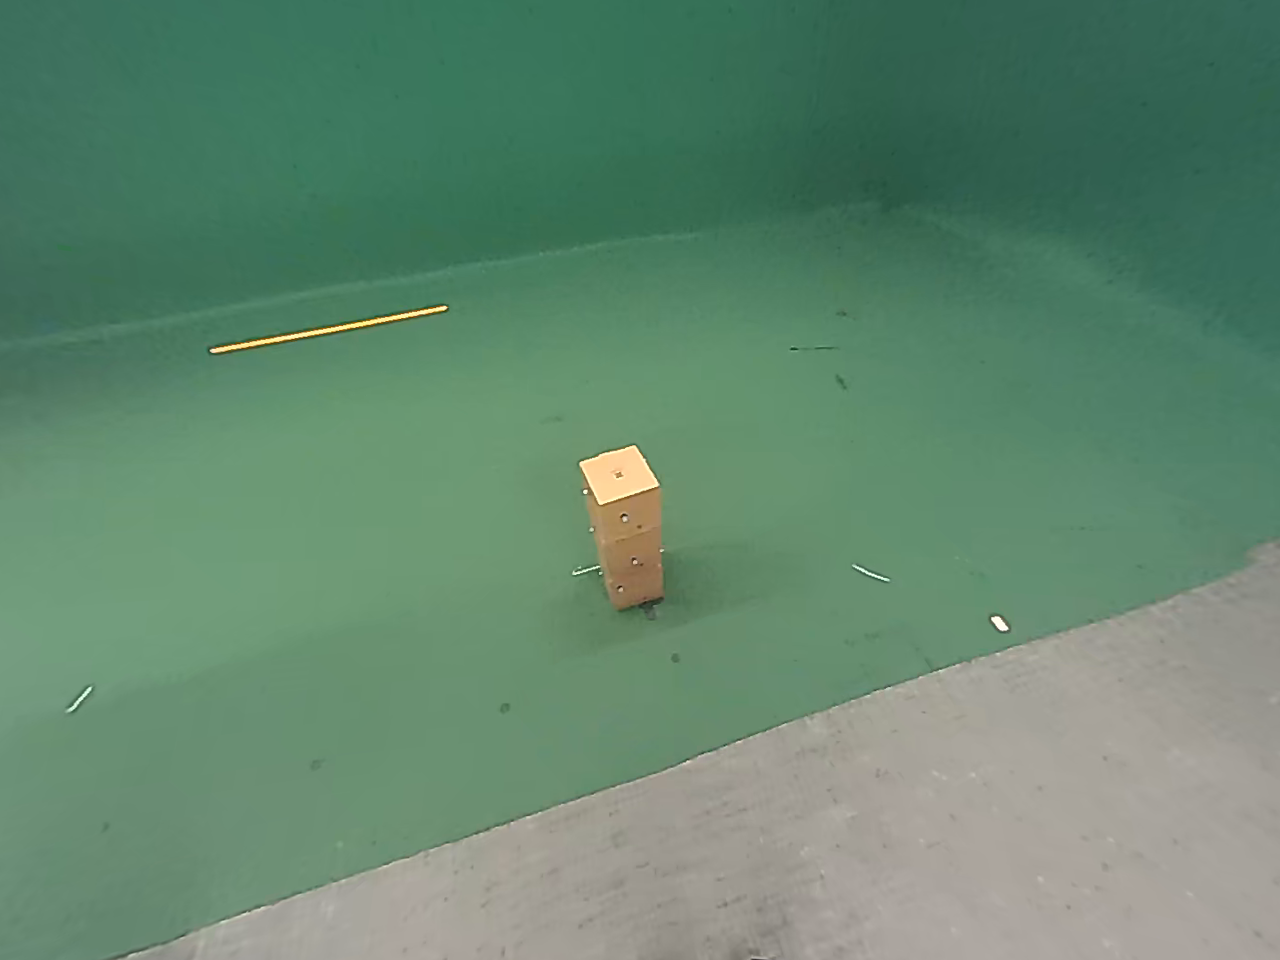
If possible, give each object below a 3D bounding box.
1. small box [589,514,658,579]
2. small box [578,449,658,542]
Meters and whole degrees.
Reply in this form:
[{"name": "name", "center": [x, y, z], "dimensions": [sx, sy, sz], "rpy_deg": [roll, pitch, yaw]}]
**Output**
[{"name": "small box", "center": [-0.051, 0.161, 1.598], "dimensions": [0.168, 0.176, 0.179], "rpy_deg": [-16, 47, -11]}, {"name": "small box", "center": [-0.057, 0.049, 1.480], "dimensions": [0.168, 0.176, 0.179], "rpy_deg": [-18, 46, -13]}]
